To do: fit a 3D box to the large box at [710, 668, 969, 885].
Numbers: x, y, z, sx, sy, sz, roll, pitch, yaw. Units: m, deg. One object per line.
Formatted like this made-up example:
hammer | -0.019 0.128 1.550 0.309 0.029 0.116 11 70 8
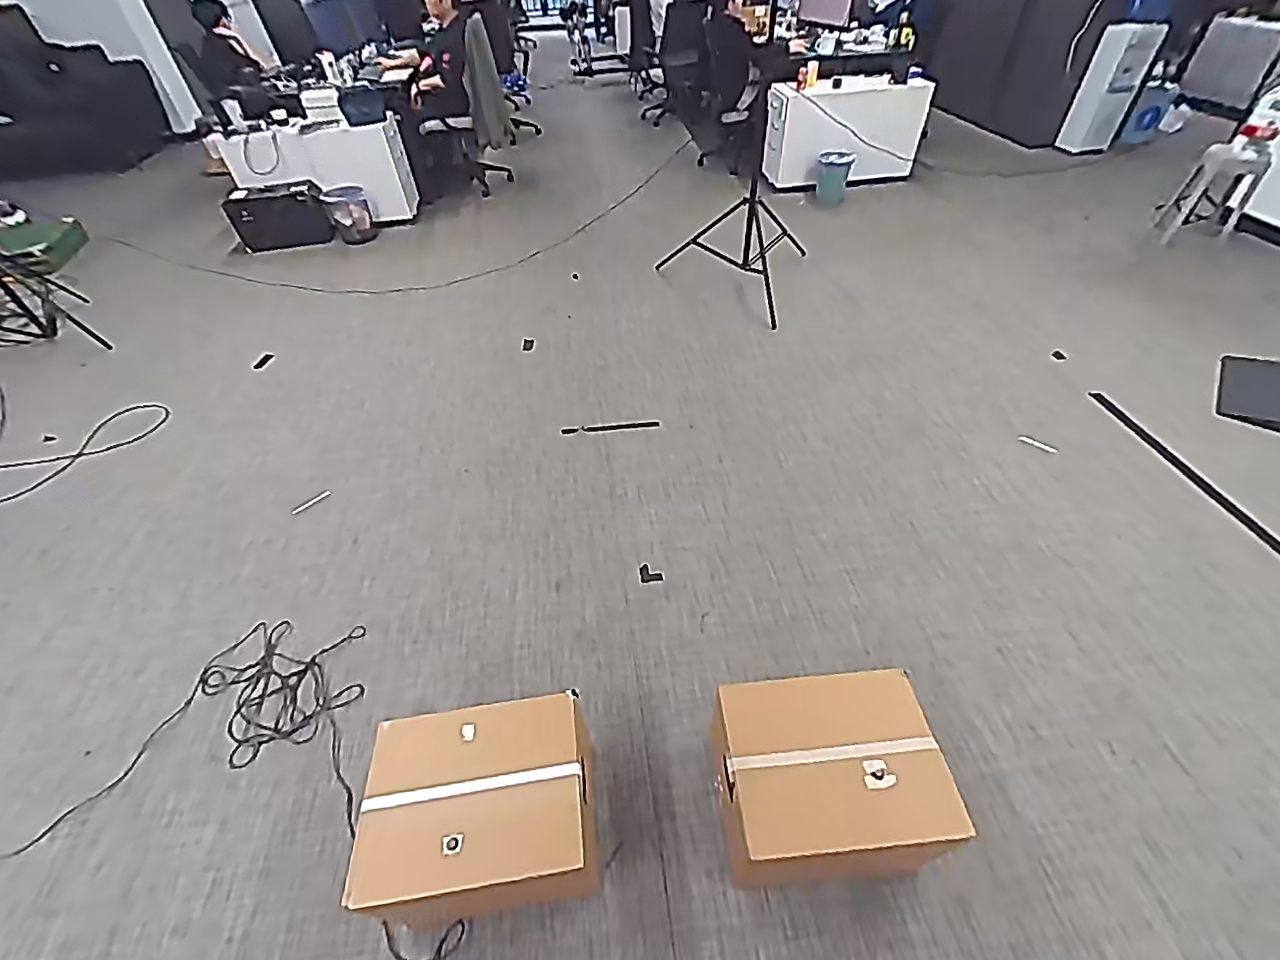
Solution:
large box | 0.381 0.636 1.160 0.408 0.320 0.320 -4 46 -2
